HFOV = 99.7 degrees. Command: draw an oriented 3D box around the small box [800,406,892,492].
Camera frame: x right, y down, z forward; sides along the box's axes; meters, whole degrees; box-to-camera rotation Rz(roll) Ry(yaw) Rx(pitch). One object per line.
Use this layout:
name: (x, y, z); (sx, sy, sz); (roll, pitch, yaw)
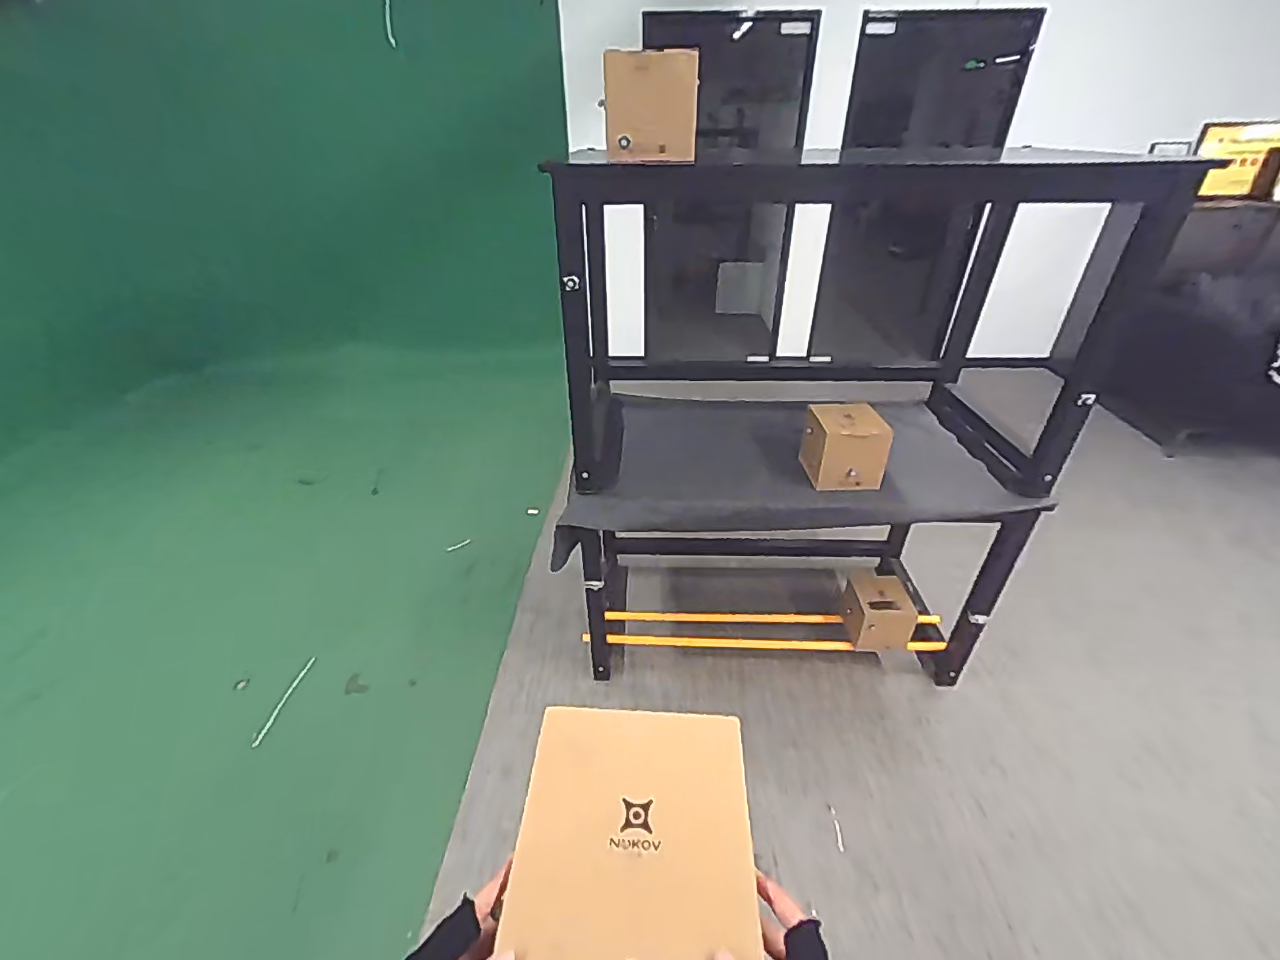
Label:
small box: (0.533, -0.085, 1.429); (0.168, 0.176, 0.179); (-1, 32, 0)

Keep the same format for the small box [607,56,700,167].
small box: (0.022, -0.708, 1.051); (0.168, 0.176, 0.179); (-1, 32, -3)
